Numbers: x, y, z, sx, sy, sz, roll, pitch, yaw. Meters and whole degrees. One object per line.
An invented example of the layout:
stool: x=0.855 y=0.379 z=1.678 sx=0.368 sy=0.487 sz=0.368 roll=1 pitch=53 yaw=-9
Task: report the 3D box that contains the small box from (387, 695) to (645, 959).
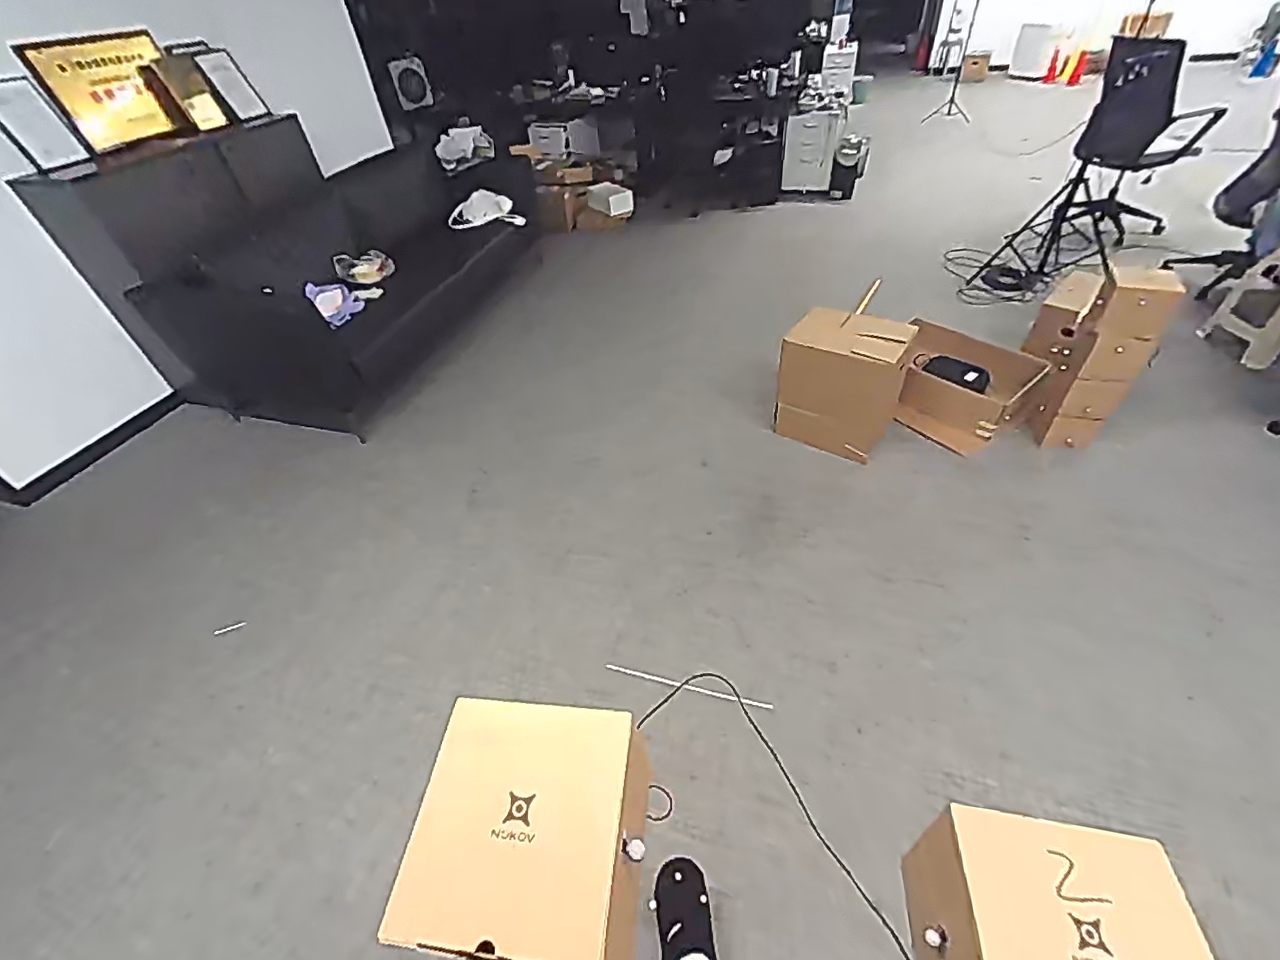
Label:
small box: x=-0.090 y=0.322 z=0.499 sx=0.168 sy=0.176 sz=0.179 roll=1 pitch=49 yaw=9
